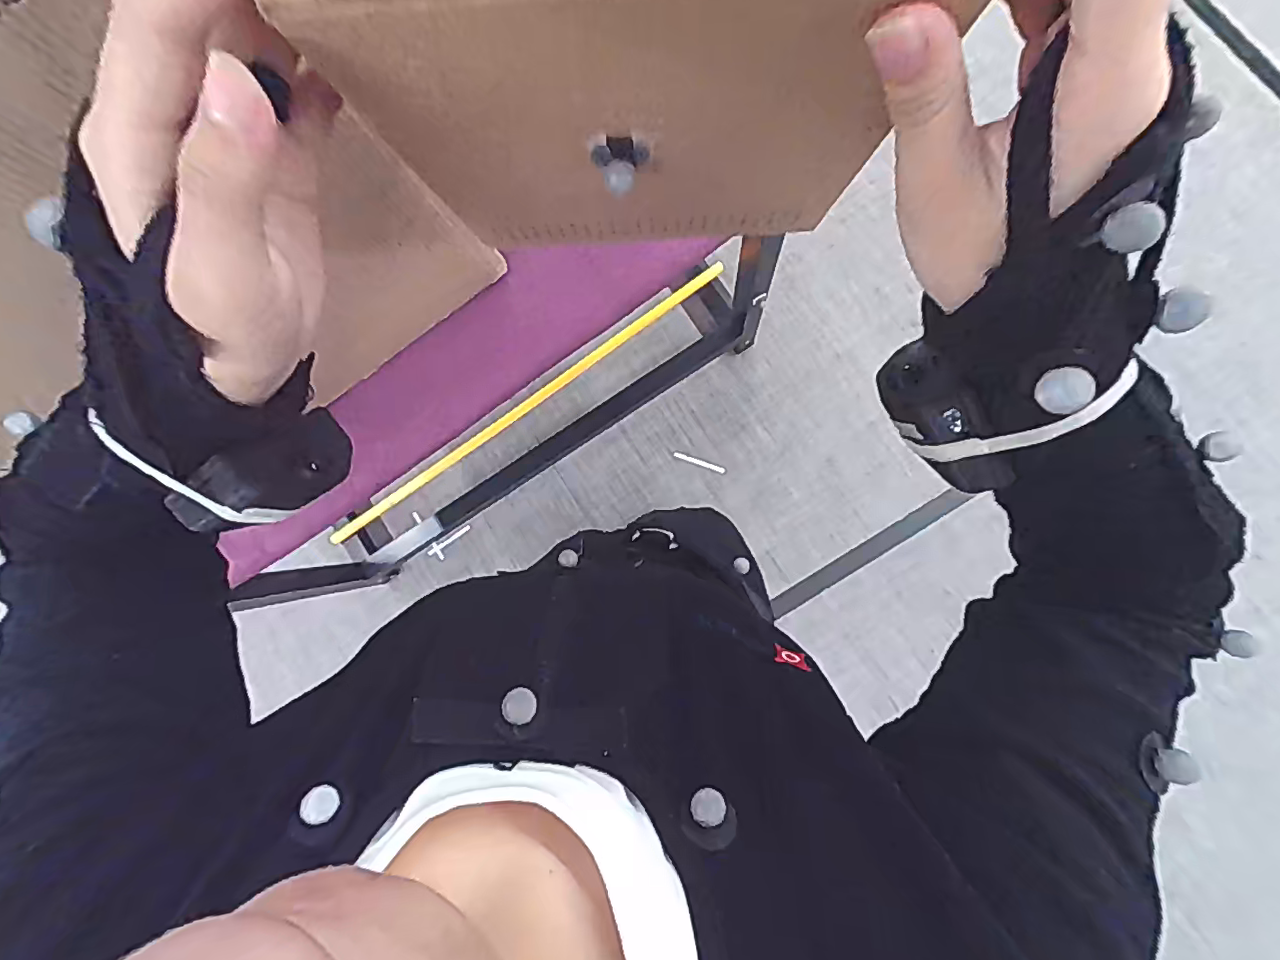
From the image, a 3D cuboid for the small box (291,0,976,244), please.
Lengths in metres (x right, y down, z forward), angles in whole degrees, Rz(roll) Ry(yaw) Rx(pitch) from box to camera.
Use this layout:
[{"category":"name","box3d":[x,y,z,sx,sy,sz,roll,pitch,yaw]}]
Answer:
[{"category":"small box","box3d":[0.000,-0.203,0.206,0.179,0.176,0.168,-1,95,3]}]
